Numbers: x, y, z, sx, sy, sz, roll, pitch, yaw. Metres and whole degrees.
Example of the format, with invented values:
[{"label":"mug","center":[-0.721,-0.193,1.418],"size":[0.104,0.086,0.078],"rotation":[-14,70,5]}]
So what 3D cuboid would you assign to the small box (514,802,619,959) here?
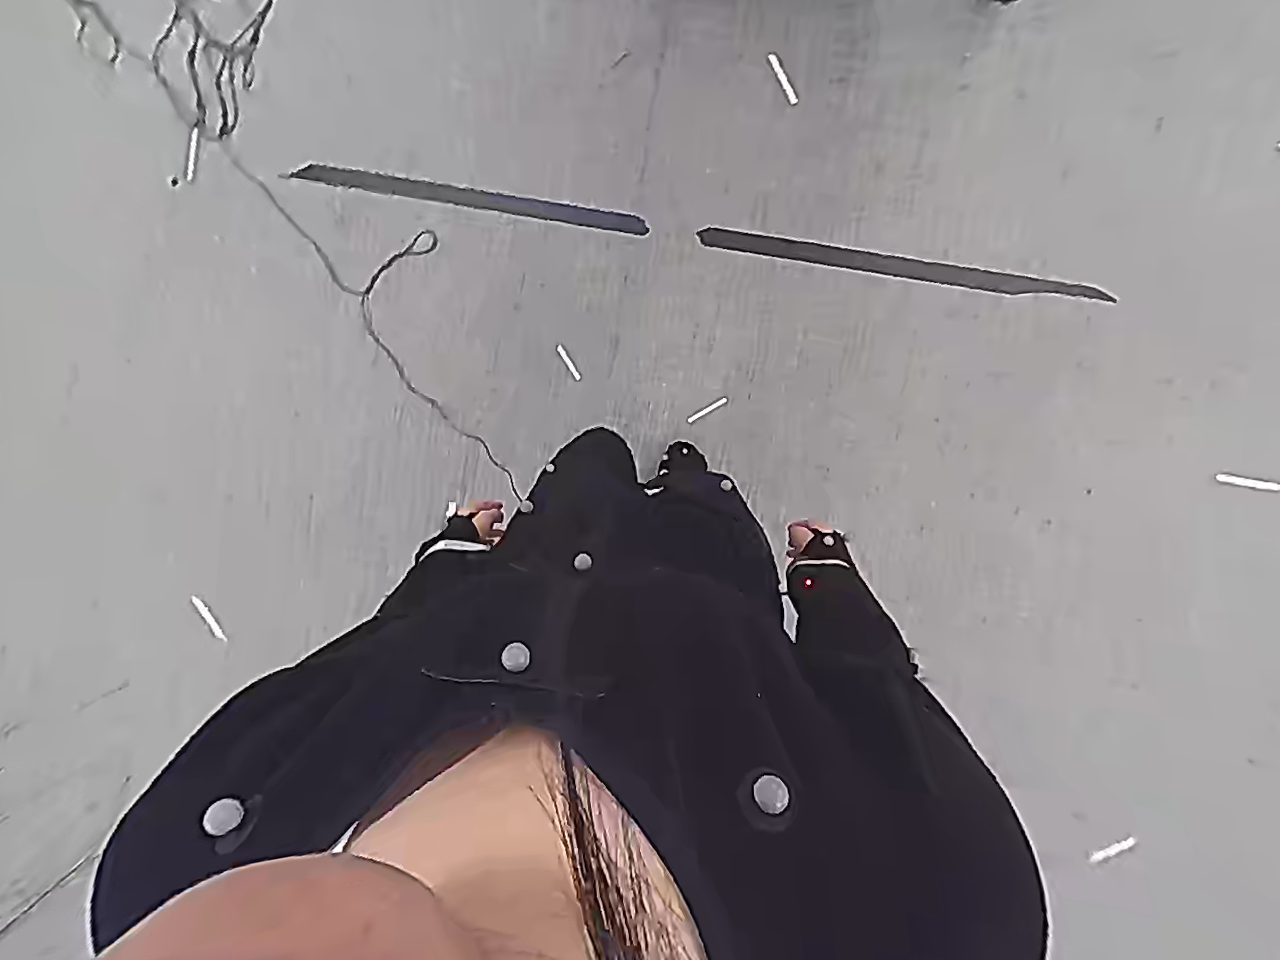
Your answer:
[{"label":"small box","center":[-0.144,0.812,1.113],"size":[0.168,0.176,0.179],"rotation":[11,94,4]}]

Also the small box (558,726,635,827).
[{"label":"small box","center":[-0.112,0.789,1.440],"size":[0.168,0.176,0.179],"rotation":[13,95,5]}]
